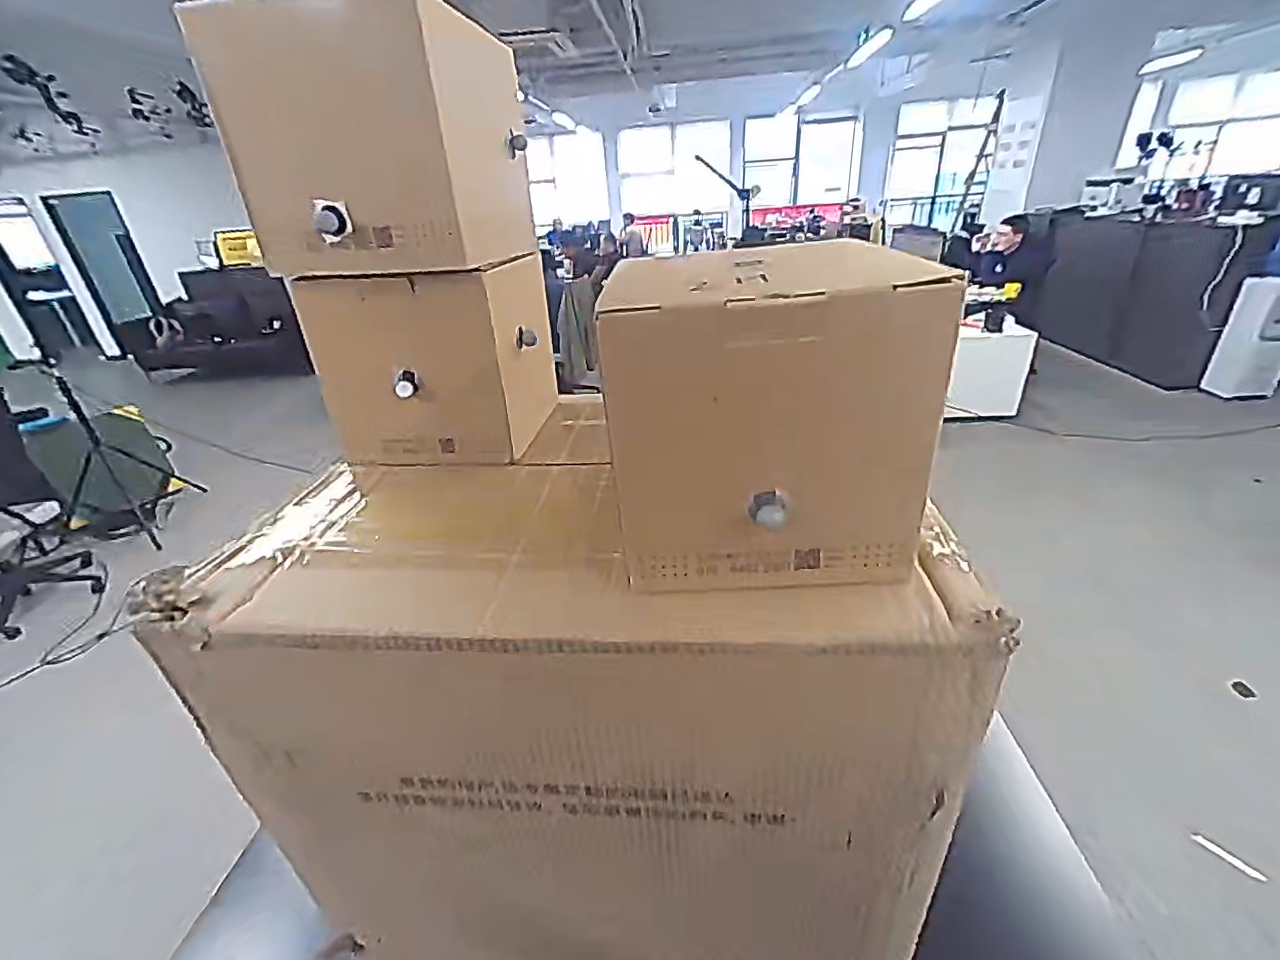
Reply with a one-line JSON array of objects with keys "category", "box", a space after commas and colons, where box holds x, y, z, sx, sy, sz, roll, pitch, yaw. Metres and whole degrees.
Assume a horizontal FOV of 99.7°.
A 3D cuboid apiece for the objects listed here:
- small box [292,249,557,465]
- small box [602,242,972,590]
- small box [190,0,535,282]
[{"category": "small box", "box": [-0.184, -0.123, 0.530, 0.168, 0.176, 0.179, 0, 28, 6]}, {"category": "small box", "box": [0.074, -0.049, 0.350, 0.168, 0.176, 0.179, -4, 29, 5]}, {"category": "small box", "box": [-0.192, -0.260, 0.441, 0.168, 0.176, 0.179, 0, 28, 8]}]
